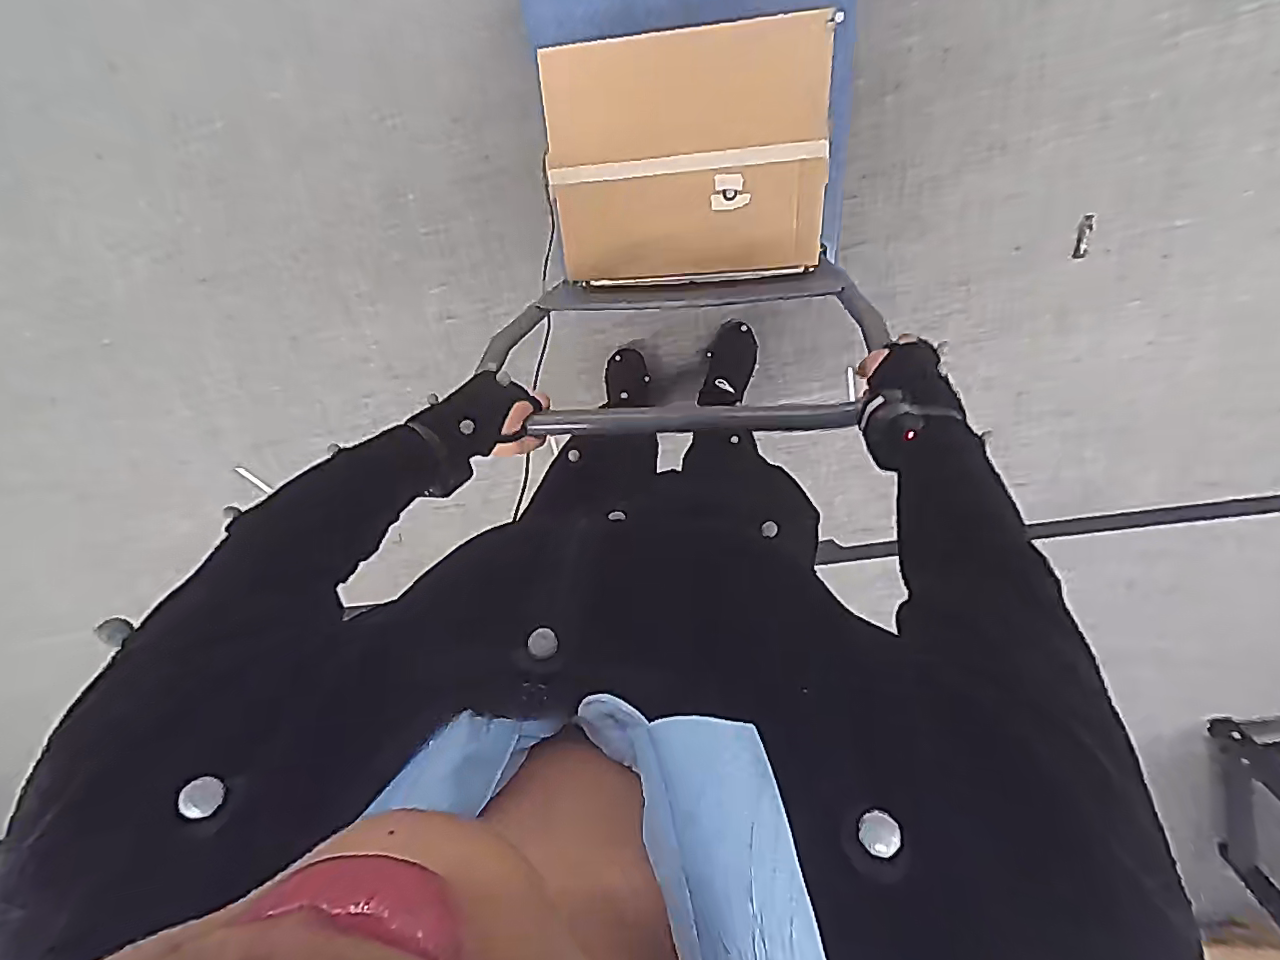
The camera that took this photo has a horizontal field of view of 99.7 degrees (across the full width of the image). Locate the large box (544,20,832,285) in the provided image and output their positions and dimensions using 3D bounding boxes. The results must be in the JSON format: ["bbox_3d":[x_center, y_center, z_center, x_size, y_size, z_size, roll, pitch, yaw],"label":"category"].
[{"bbox_3d":[0.087,-0.536,0.939,0.408,0.320,0.320,0,119,8],"label":"large box"}]
